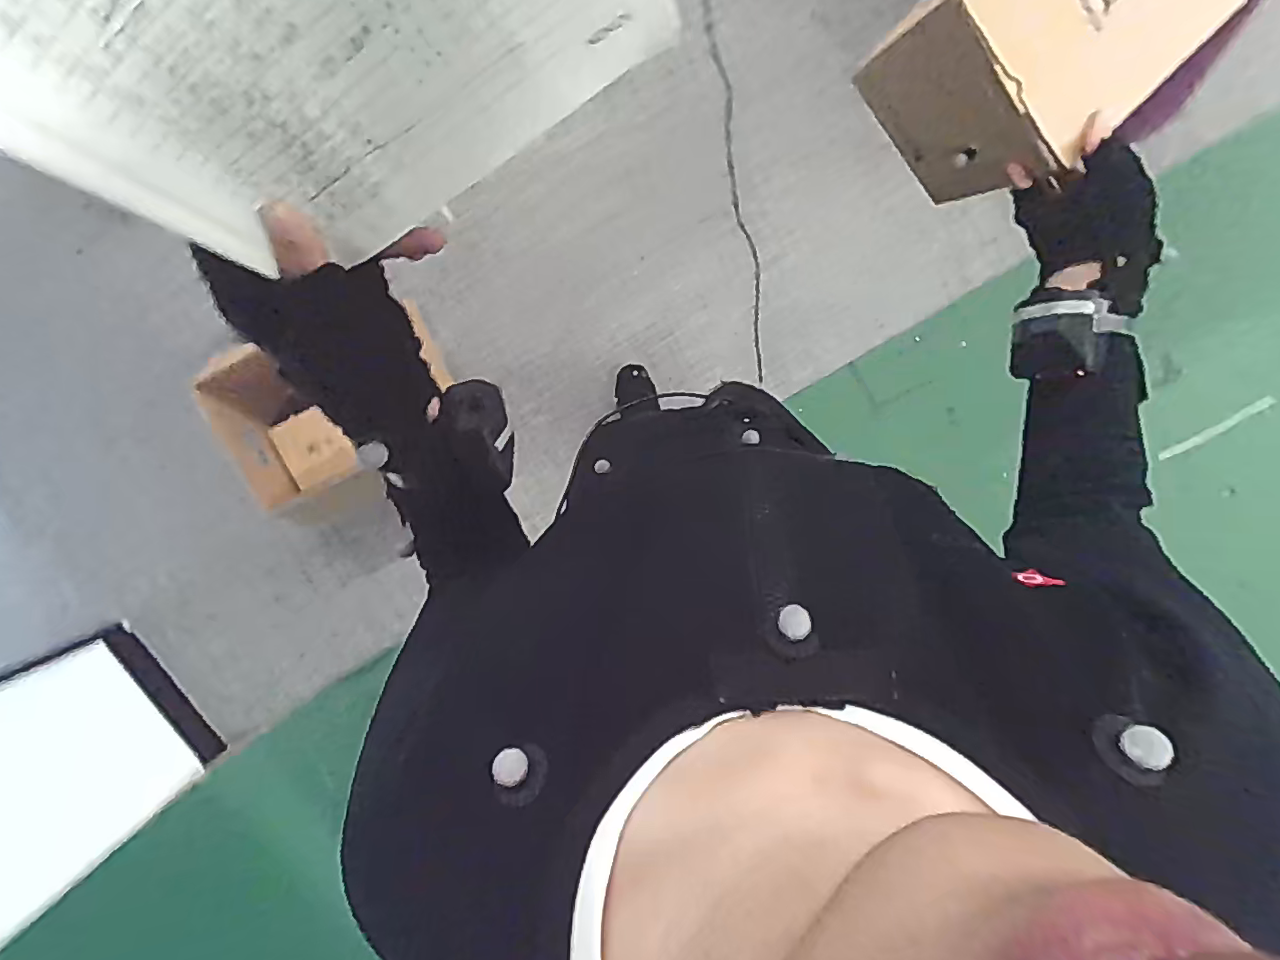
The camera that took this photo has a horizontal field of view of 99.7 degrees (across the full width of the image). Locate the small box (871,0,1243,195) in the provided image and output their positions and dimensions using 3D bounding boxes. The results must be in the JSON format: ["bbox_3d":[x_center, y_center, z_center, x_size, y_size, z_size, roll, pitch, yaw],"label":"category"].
[{"bbox_3d":[0.336,-0.387,0.477,0.179,0.176,0.168,-44,108,9],"label":"small box"}]
